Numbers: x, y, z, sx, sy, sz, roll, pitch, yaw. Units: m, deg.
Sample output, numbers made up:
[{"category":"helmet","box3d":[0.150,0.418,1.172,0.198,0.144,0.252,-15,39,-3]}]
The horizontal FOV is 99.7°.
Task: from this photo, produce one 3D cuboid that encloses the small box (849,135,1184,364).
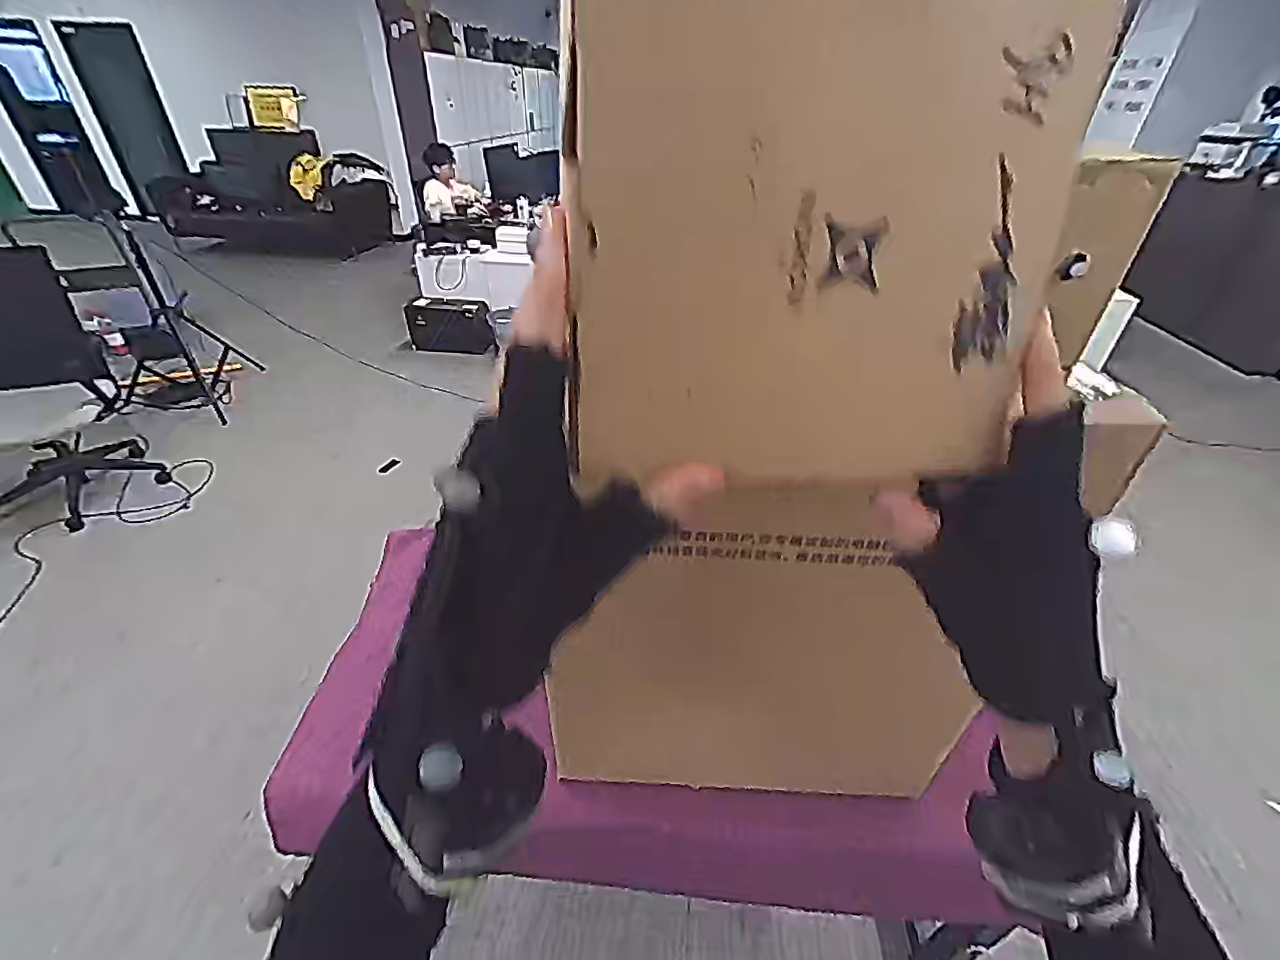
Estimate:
[{"category":"small box","box3d":[0.317,-0.218,0.506,0.168,0.176,0.179,3,35,0]}]
